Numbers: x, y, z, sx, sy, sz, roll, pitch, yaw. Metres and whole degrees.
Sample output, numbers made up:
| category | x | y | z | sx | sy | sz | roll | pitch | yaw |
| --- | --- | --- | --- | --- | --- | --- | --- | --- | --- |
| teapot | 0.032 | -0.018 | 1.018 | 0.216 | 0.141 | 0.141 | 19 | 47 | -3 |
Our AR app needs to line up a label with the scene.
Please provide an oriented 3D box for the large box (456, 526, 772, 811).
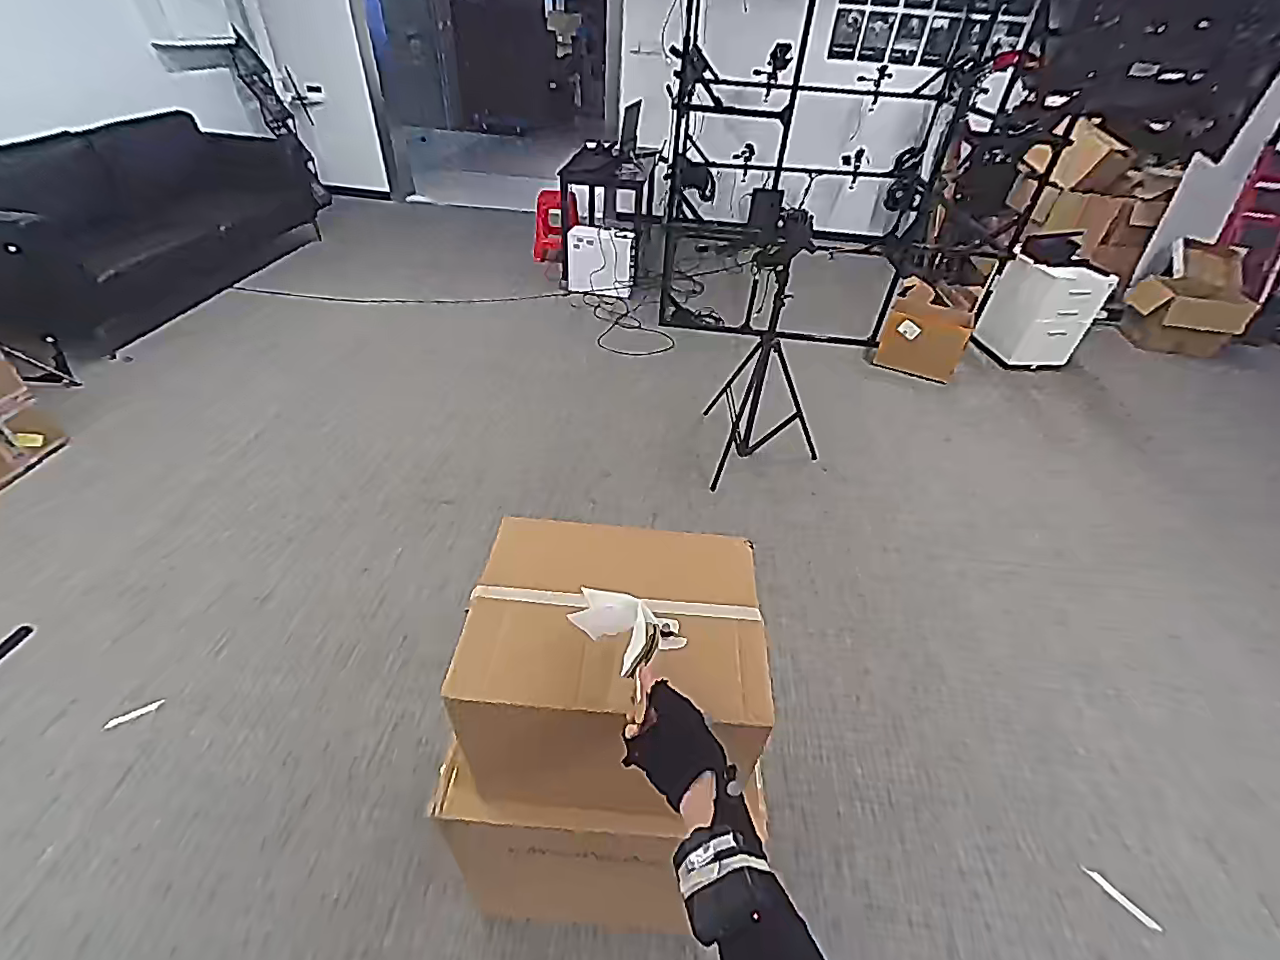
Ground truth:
| category | x | y | z | sx | sy | sz | roll | pitch | yaw |
| --- | --- | --- | --- | --- | --- | --- | --- | --- | --- |
| large box | -0.038 | 0.301 | 0.876 | 0.408 | 0.320 | 0.320 | 5 | 40 | 0 |
